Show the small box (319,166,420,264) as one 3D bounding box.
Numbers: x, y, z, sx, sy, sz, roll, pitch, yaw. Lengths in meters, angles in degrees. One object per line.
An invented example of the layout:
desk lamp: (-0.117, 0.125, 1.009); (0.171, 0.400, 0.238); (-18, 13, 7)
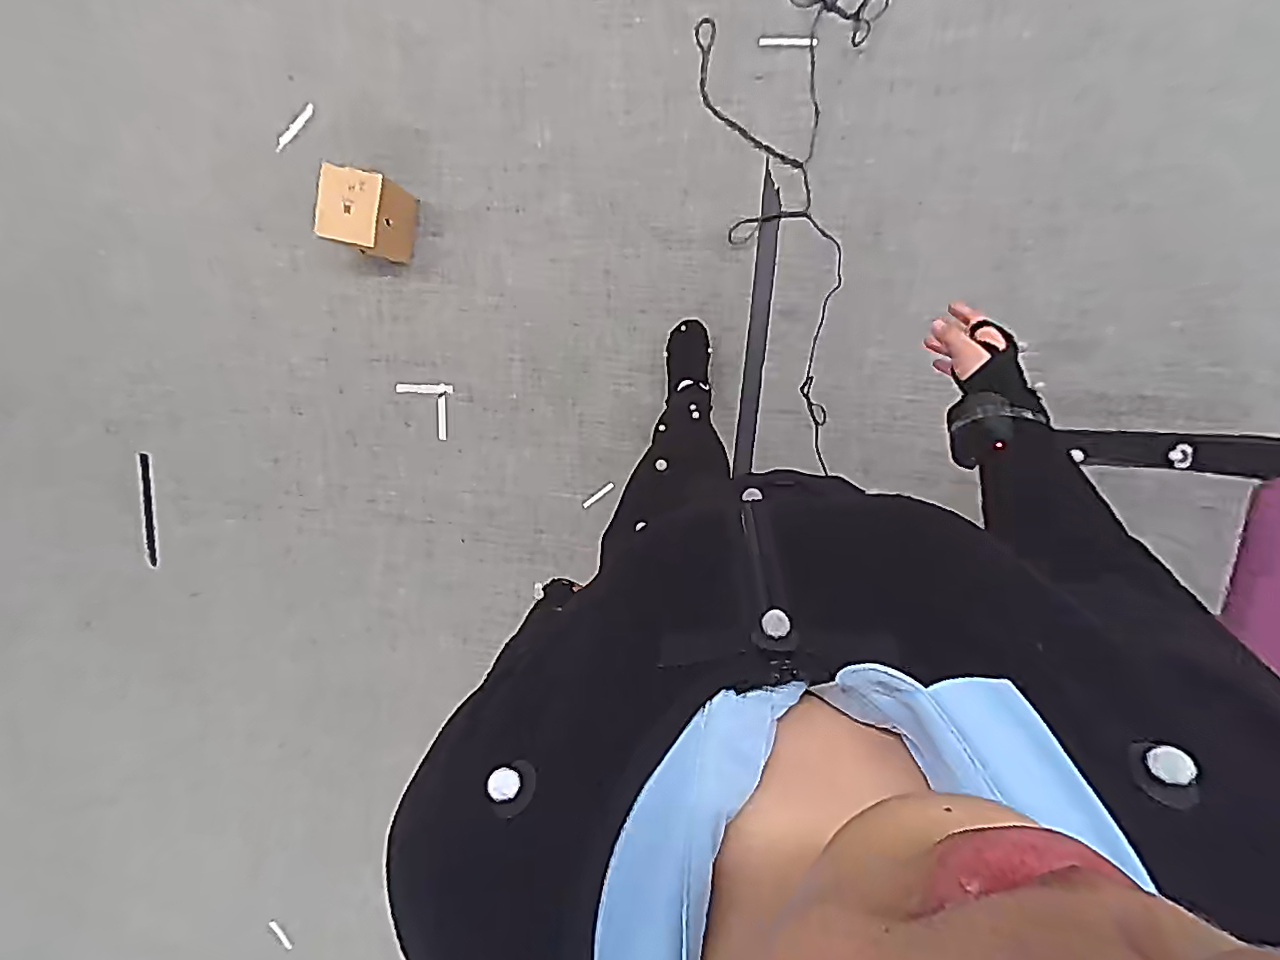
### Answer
small box: (-0.703, -0.685, 1.418); (0.168, 0.176, 0.179); (14, 99, 5)
